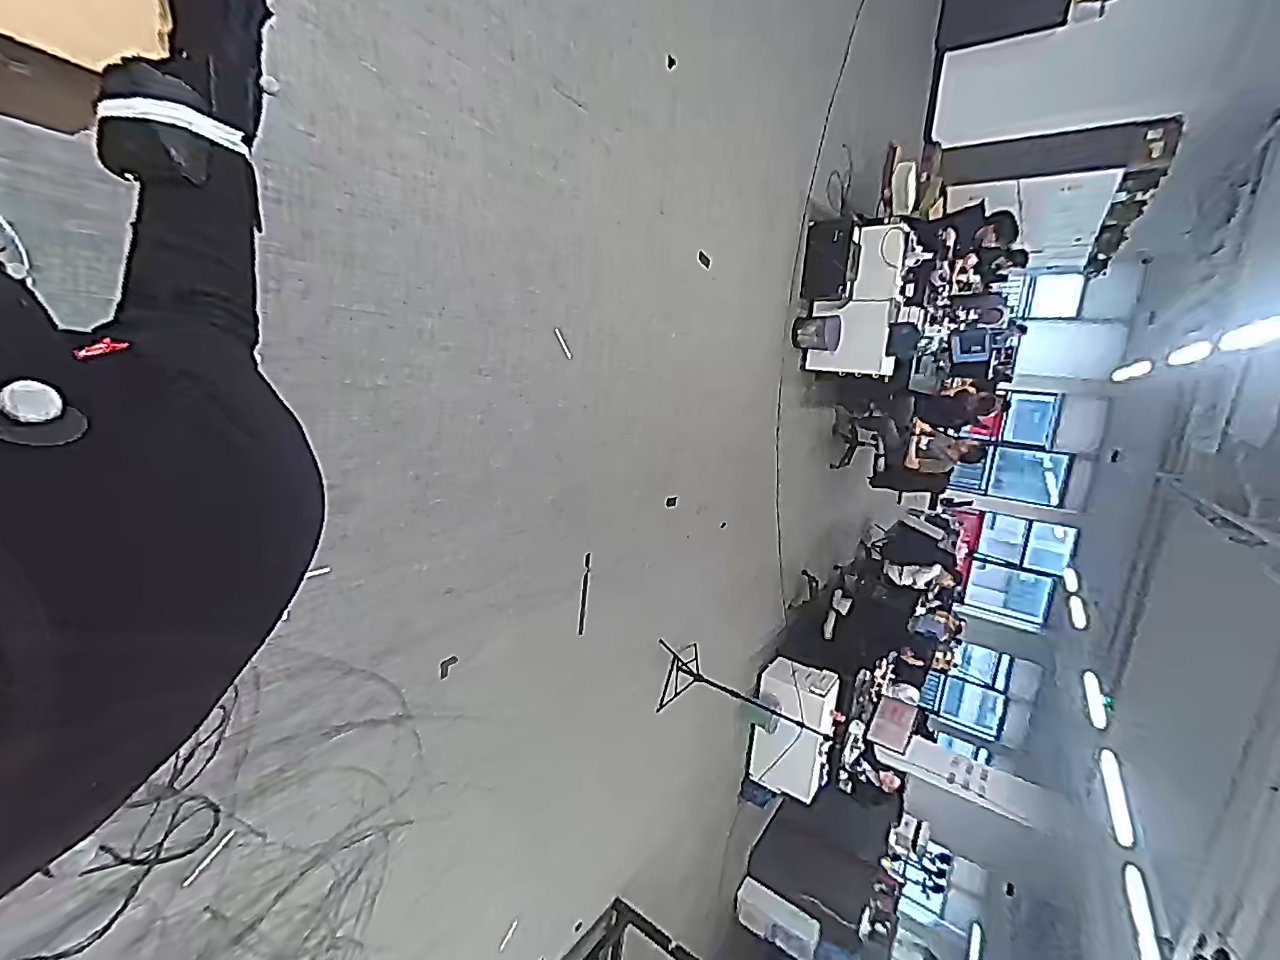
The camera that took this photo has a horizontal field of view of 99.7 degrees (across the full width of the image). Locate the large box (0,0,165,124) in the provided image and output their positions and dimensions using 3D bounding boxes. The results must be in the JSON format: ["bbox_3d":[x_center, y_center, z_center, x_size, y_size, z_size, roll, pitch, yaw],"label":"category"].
[{"bbox_3d":[-0.552,-0.449,0.277,0.408,0.320,0.320,-6,112,-55],"label":"large box"}]
